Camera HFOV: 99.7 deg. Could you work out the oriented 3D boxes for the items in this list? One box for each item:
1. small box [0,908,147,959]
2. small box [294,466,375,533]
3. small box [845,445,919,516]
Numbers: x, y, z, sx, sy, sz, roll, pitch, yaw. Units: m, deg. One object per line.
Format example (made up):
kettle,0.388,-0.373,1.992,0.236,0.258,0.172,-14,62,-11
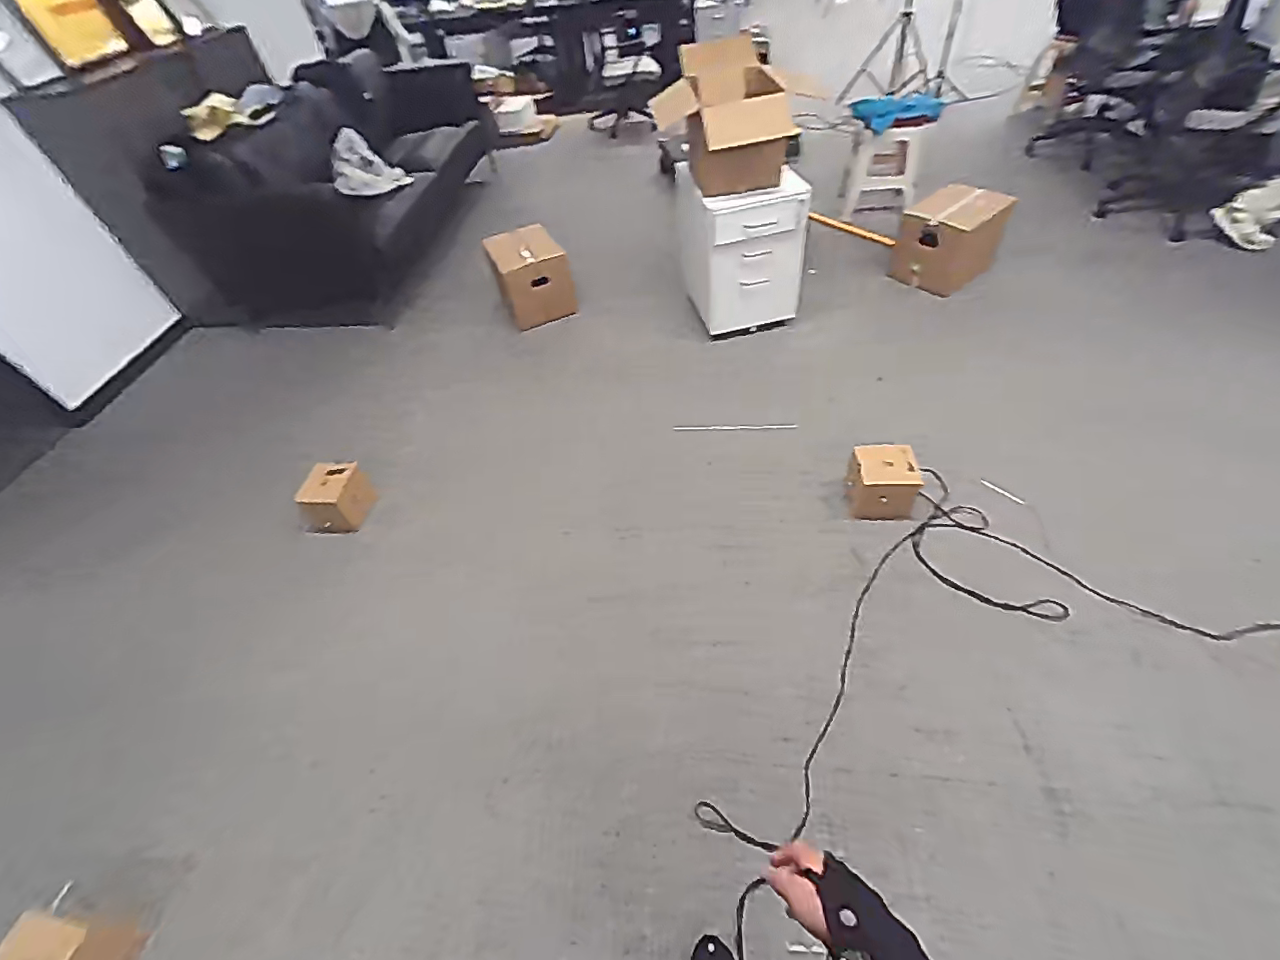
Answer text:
small box,-1.214,1.024,1.130,0.179,0.176,0.168,5,50,12
small box,-1.096,0.069,1.960,0.168,0.176,0.179,1,50,9
small box,0.766,0.005,1.738,0.179,0.176,0.168,-2,49,8
